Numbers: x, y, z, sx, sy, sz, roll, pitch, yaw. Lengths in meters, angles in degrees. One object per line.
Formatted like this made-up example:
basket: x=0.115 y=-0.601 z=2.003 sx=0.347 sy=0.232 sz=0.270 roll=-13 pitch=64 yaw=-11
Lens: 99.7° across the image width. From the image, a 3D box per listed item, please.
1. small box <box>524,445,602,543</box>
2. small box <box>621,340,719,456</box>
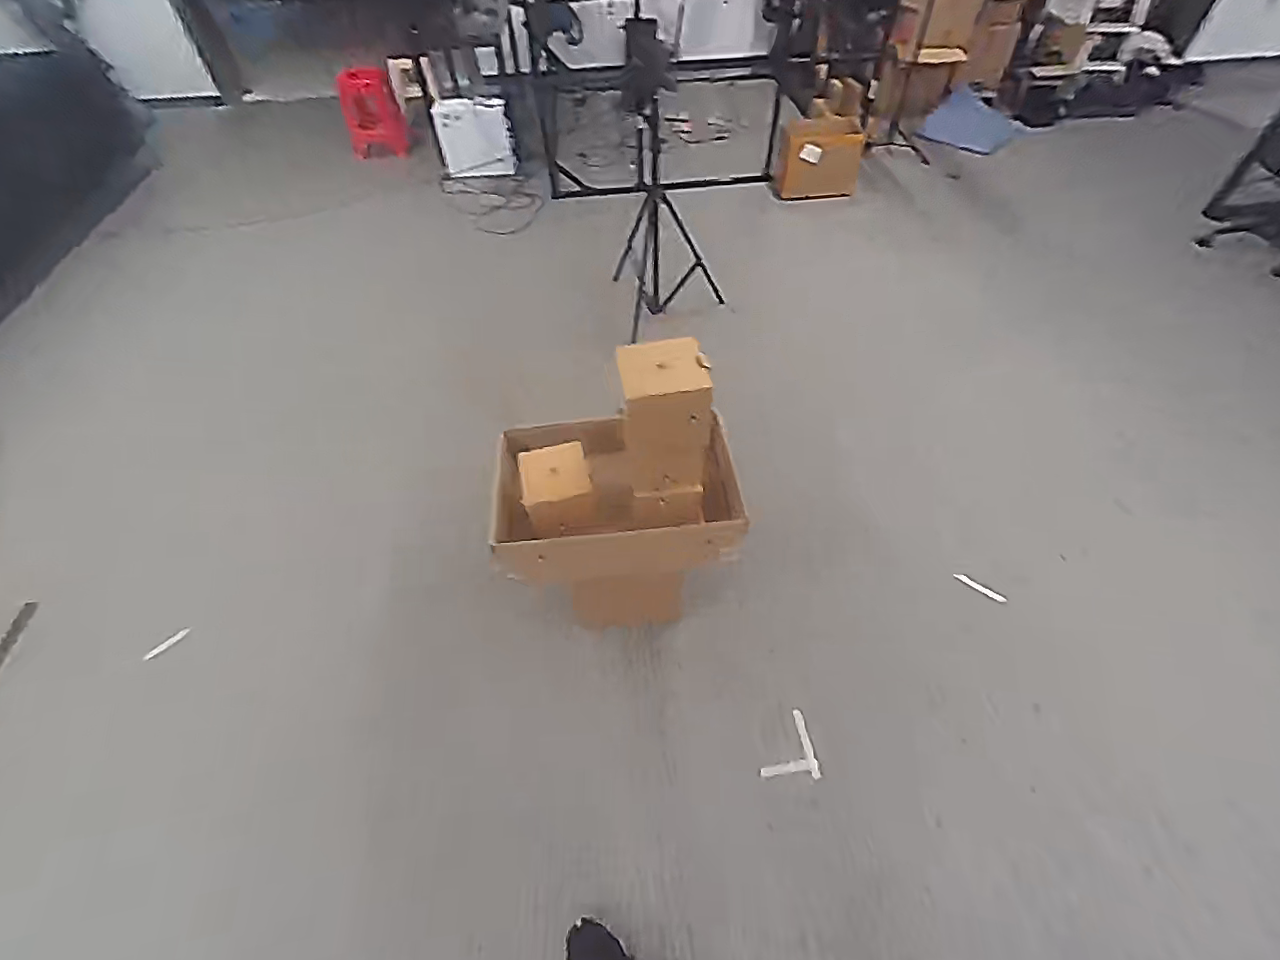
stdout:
small box: x=-0.201 y=0.038 z=1.414 sx=0.168 sy=0.176 sz=0.179 roll=-12 pitch=52 yaw=-6
small box: x=0.058 y=-0.171 z=1.146 sx=0.179 sy=0.176 sz=0.168 roll=-8 pitch=51 yaw=-4
